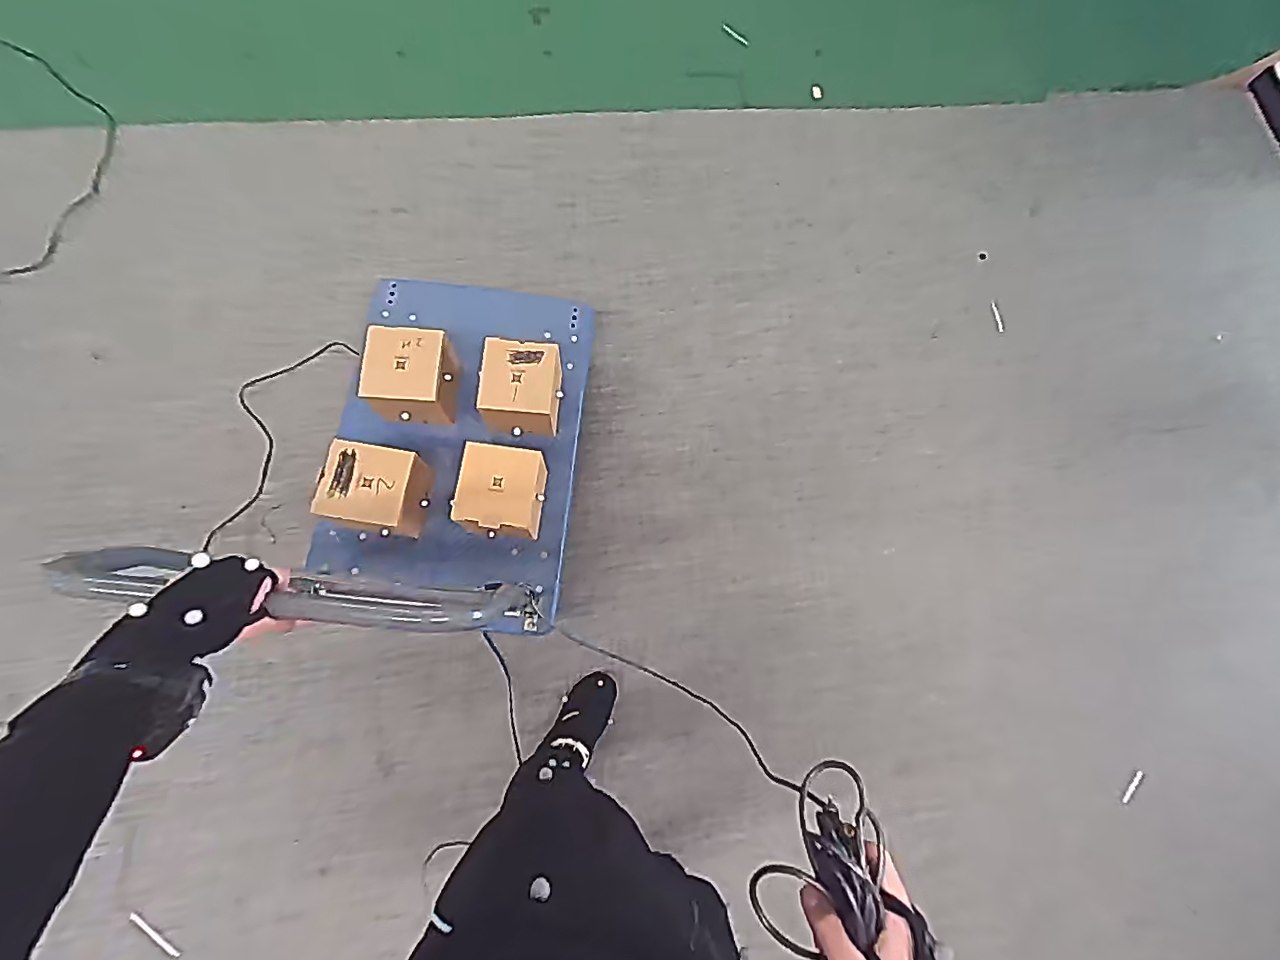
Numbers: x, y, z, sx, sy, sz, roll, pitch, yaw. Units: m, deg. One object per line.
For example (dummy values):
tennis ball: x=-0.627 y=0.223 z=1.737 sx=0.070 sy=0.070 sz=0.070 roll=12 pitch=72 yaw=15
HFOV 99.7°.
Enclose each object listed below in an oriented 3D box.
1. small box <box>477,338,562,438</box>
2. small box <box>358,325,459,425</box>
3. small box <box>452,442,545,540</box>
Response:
small box: x=-0.279 y=-0.214 z=1.291 sx=0.168 sy=0.176 sz=0.179 roll=5 pitch=77 yaw=-4
small box: x=-0.534 y=-0.239 z=1.272 sx=0.168 sy=0.176 sz=0.179 roll=4 pitch=76 yaw=-6
small box: x=-0.312 y=0.031 z=1.228 sx=0.168 sy=0.176 sz=0.179 roll=8 pitch=76 yaw=-4
